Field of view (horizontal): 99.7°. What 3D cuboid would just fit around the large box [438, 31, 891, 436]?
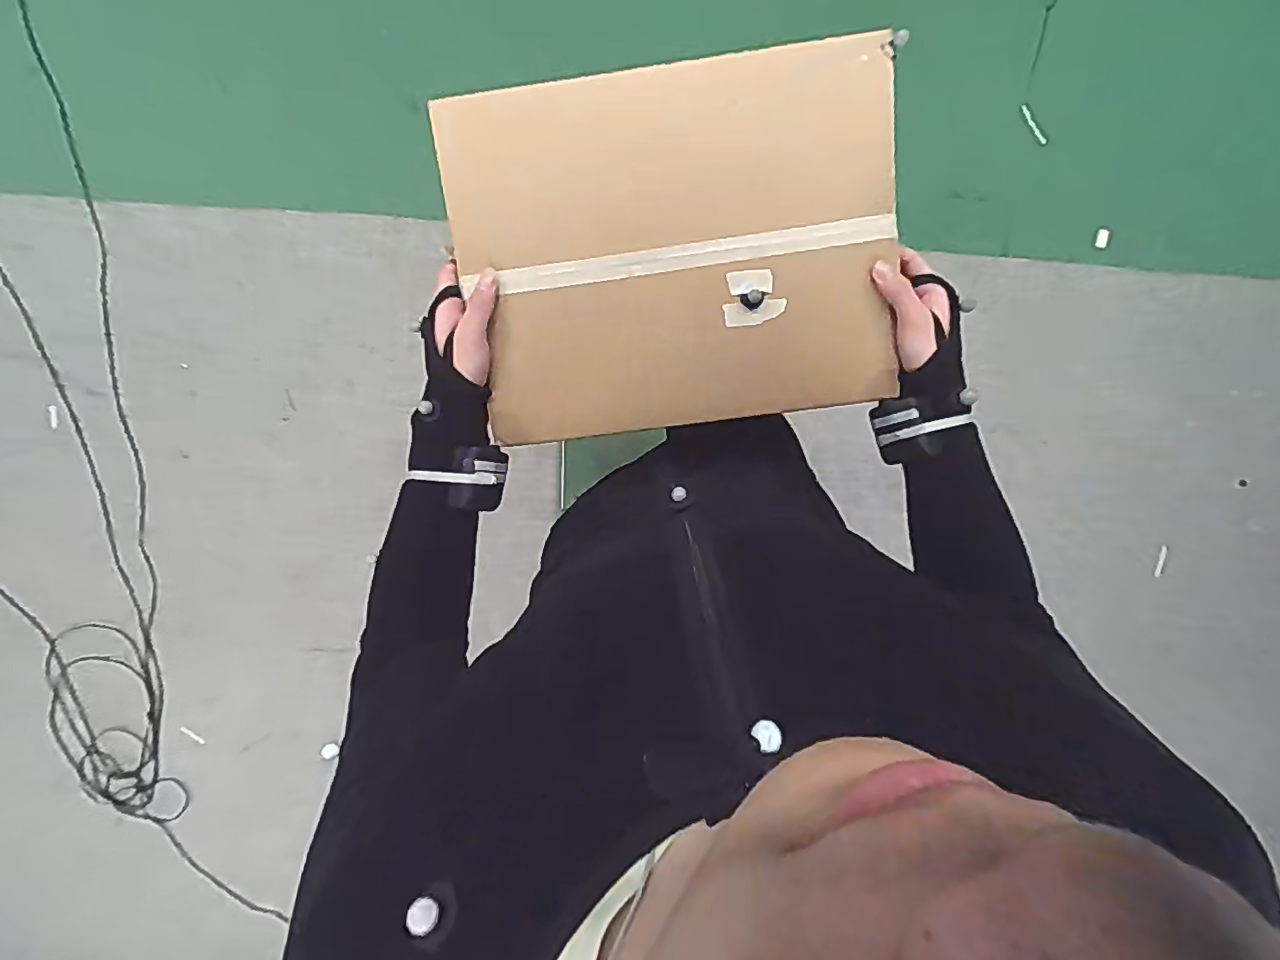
[{"bbox_3d":[0.032,-0.251,0.658,0.408,0.320,0.320,-8,103,2],"label":"large box"}]
